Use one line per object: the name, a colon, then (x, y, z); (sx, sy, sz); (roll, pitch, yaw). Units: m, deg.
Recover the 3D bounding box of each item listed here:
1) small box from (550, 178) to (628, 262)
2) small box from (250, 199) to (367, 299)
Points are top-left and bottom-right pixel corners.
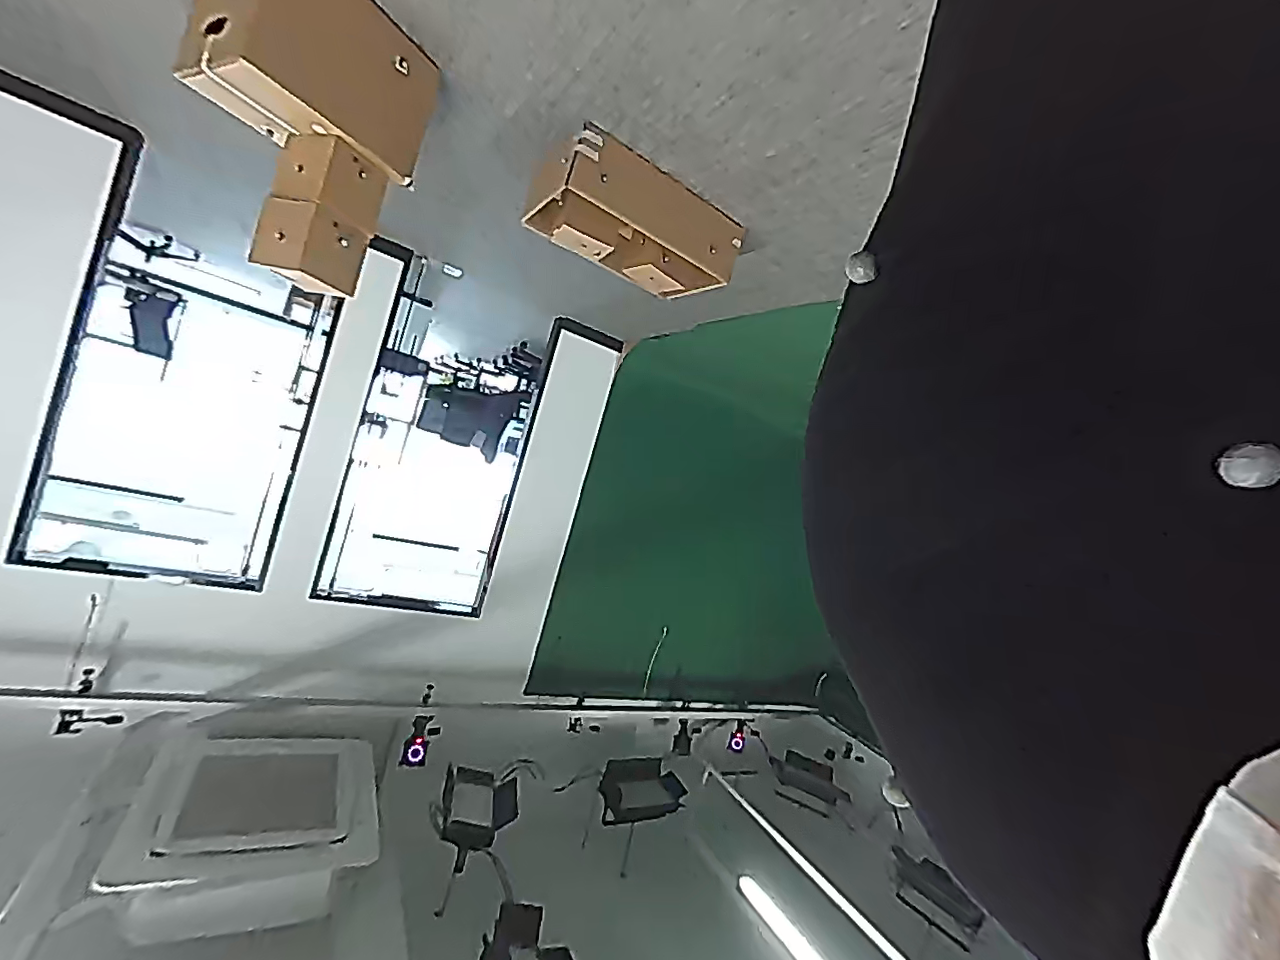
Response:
small box: (-0.162, -0.829, 1.719); (0.179, 0.176, 0.168); (16, 179, -27)
small box: (-0.827, -0.582, 1.364); (0.179, 0.176, 0.168); (14, 179, 18)
